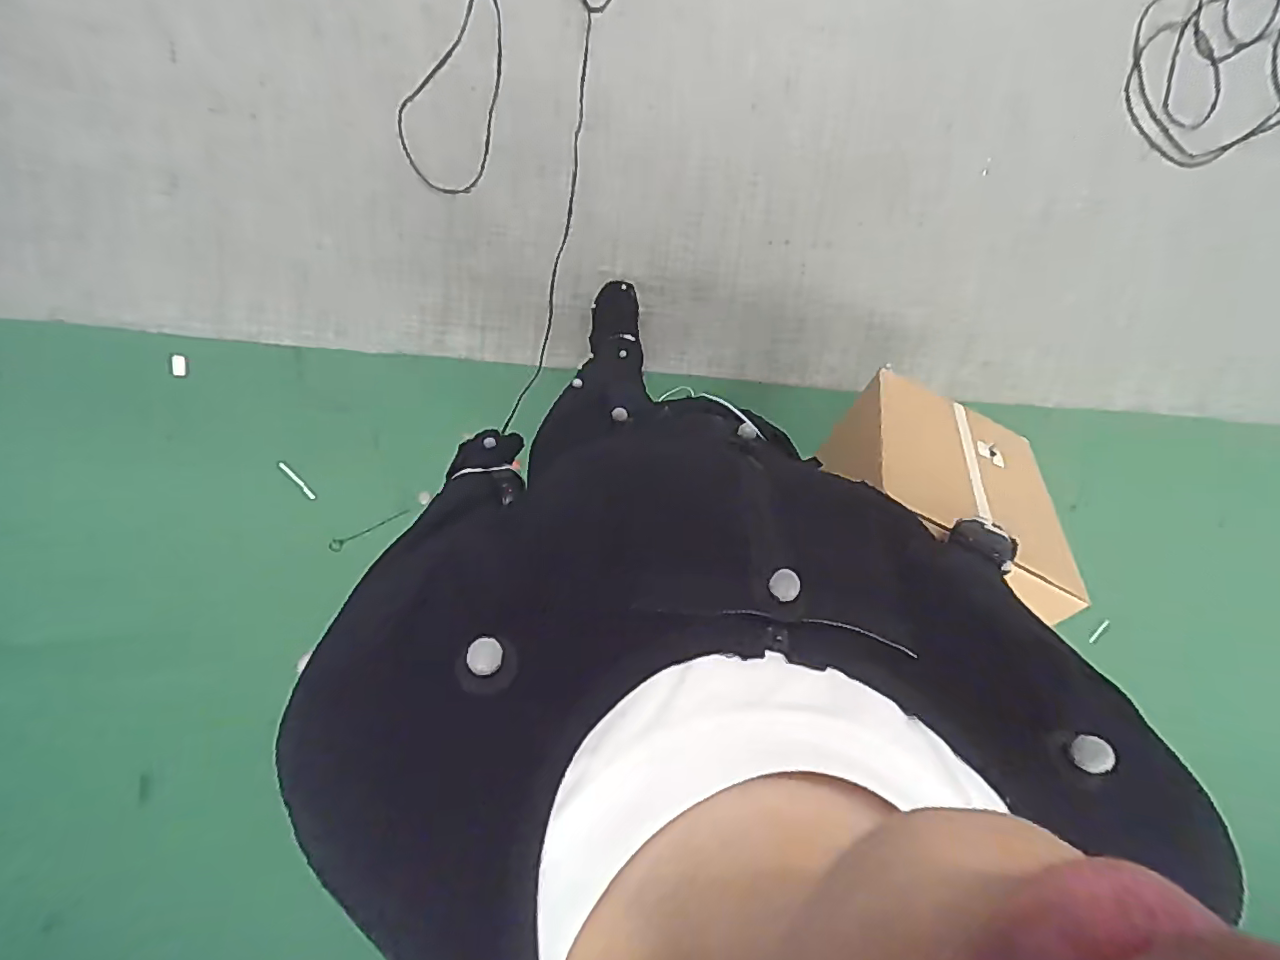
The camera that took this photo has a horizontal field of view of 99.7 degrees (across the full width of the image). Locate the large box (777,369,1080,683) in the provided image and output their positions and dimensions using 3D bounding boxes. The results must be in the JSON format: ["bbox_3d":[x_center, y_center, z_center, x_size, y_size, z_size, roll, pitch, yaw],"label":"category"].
[{"bbox_3d":[0.473,0.074,0.979,0.320,0.408,0.320,28,132,0],"label":"large box"}]
